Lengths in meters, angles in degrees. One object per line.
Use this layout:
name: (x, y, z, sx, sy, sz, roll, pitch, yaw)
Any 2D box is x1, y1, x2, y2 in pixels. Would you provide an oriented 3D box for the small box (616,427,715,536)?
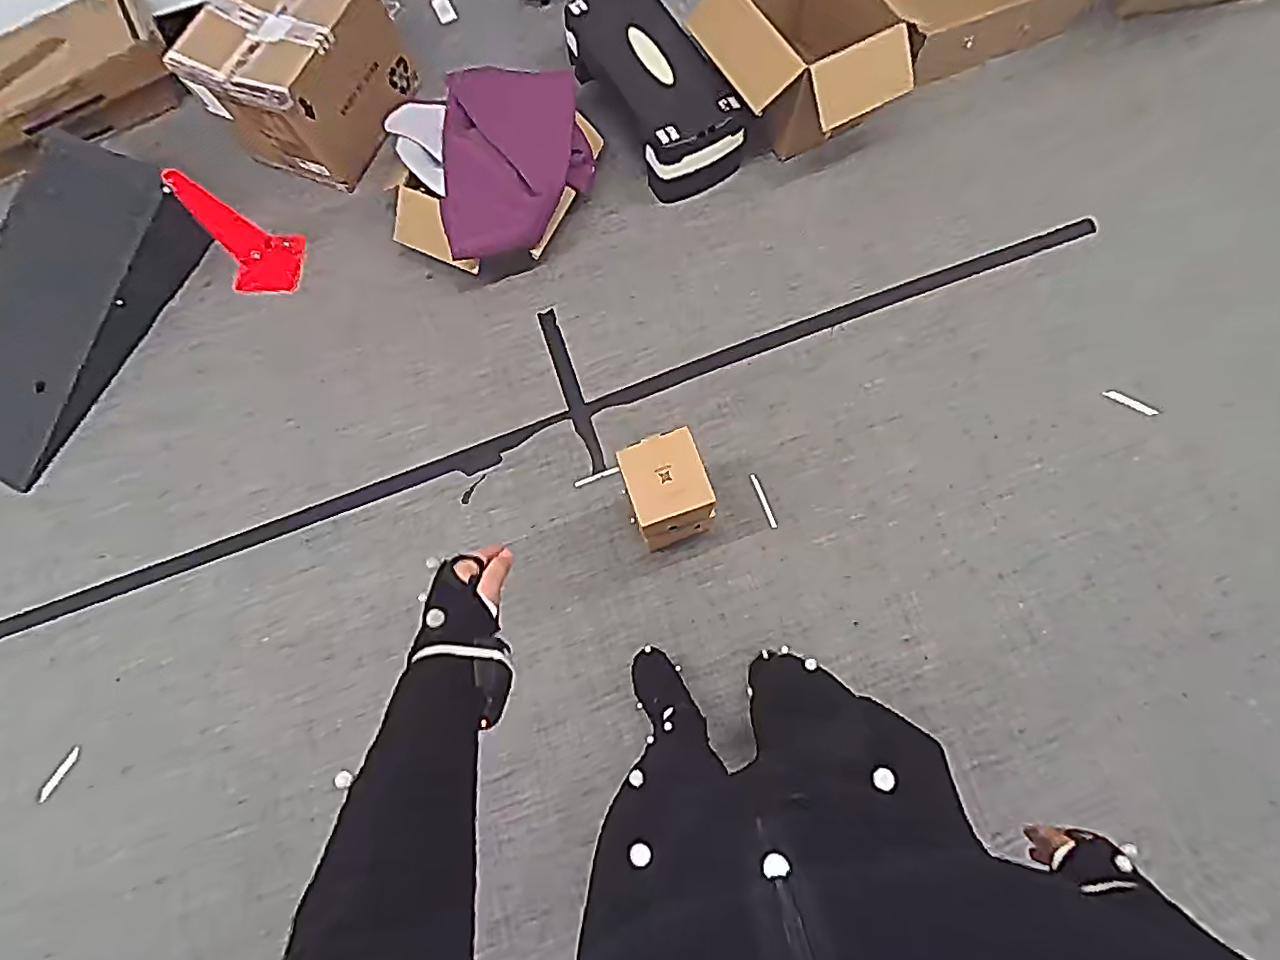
small box: (0.054, 0.011, 1.196, 0.168, 0.176, 0.179, -19, 77, -2)

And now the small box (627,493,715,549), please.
small box: (0.069, 0.060, 1.351, 0.179, 0.176, 0.168, -21, 75, -3)
